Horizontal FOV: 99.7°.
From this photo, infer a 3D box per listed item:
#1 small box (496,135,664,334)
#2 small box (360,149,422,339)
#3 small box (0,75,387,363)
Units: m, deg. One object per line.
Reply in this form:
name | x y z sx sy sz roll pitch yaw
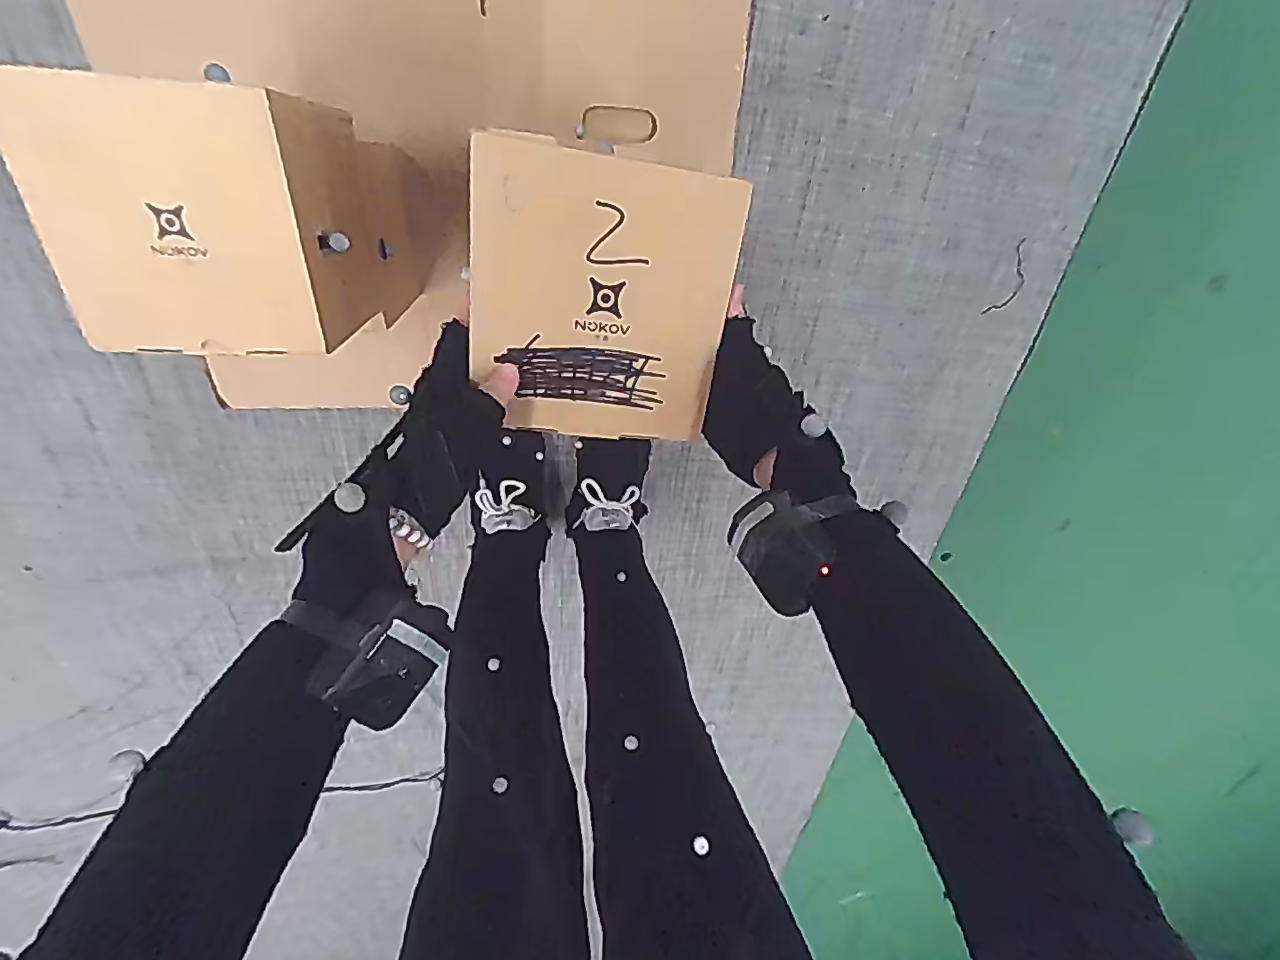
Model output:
small box | -0.077 -0.286 0.630 0.168 0.176 0.179 3 121 -10
small box | -0.353 -0.264 0.596 0.168 0.176 0.179 -4 121 -7
small box | -0.325 -0.206 0.444 0.168 0.176 0.179 -1 121 -9
